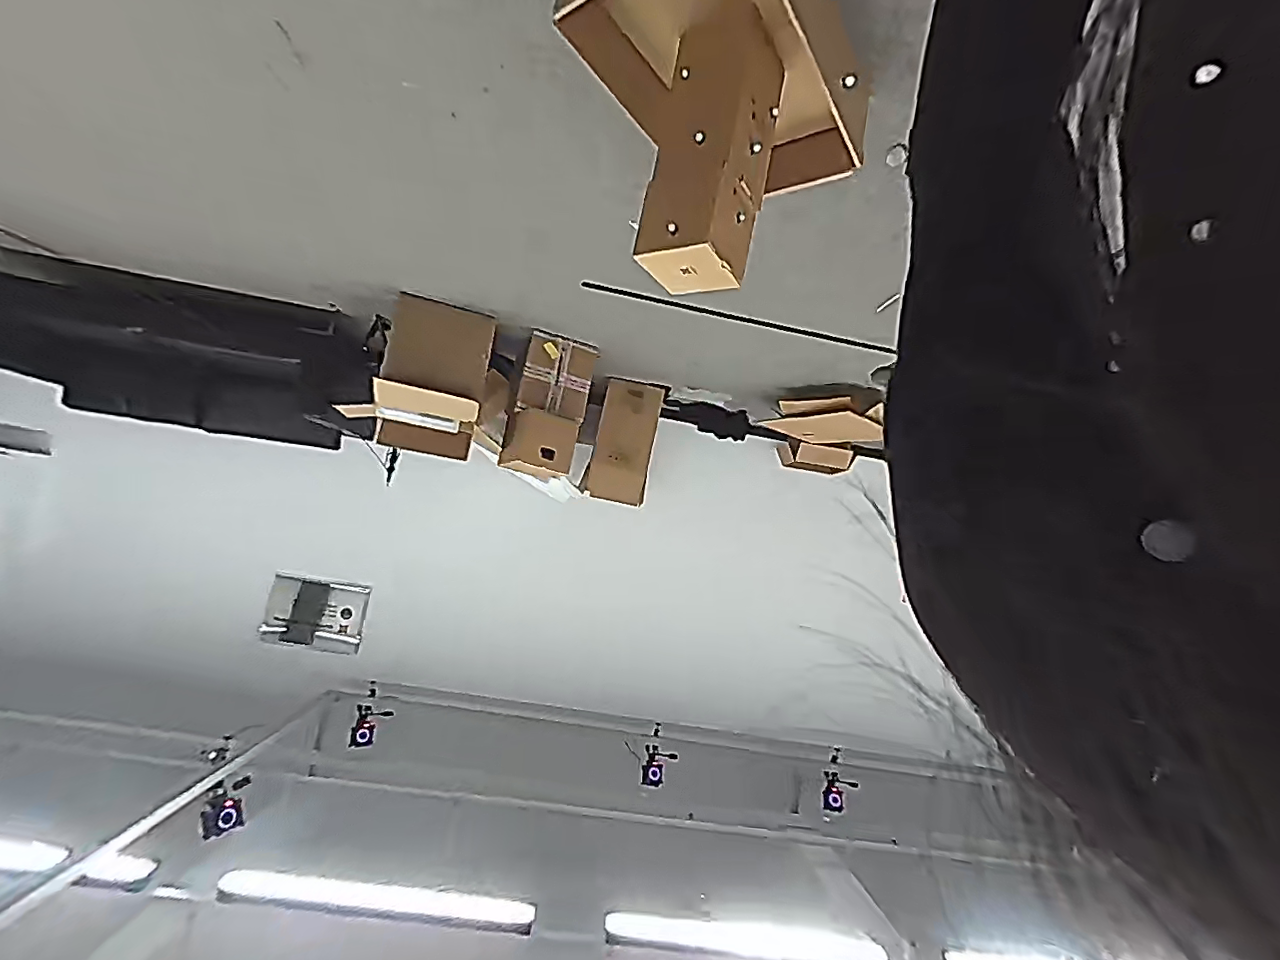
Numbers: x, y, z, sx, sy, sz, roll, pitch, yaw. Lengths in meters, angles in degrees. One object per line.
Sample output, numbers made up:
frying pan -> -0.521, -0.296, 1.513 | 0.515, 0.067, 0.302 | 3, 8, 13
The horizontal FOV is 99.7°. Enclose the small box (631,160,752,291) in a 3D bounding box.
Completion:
small box -> 0.109, -0.509, 1.100 | 0.179, 0.176, 0.168 | 7, 172, 35

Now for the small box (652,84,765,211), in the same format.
small box -> 0.149, -0.667, 1.118 | 0.179, 0.176, 0.168 | 6, 172, 34
